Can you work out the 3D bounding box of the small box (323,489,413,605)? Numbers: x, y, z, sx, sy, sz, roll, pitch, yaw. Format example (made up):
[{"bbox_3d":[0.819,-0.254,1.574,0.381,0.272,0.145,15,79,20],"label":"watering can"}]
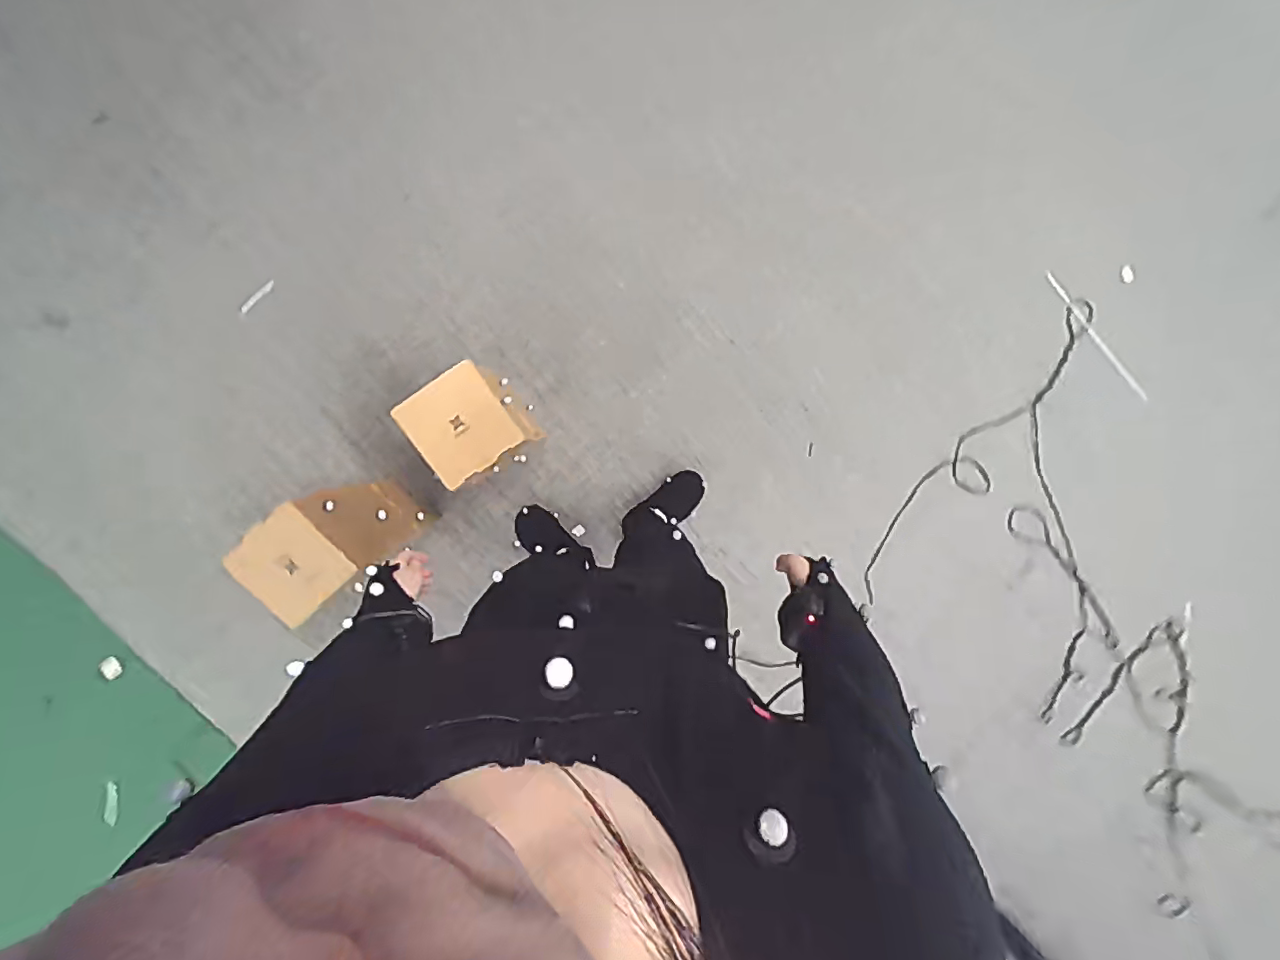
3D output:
[{"bbox_3d":[-0.637,0.137,1.190,0.179,0.176,0.168,44,90,-7],"label":"small box"}]

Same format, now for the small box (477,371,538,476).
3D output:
[{"bbox_3d":[-0.345,-0.115,1.194,0.168,0.176,0.179,-39,97,0],"label":"small box"}]

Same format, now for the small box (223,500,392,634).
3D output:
[{"bbox_3d":[-0.618,0.152,1.029,0.168,0.176,0.179,-45,97,2],"label":"small box"}]

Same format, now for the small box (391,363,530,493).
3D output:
[{"bbox_3d":[-0.330,-0.096,1.033,0.168,0.176,0.179,-37,97,-1],"label":"small box"}]

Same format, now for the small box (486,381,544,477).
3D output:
[{"bbox_3d":[-0.359,-0.126,1.358,0.168,0.176,0.179,-37,98,-1],"label":"small box"}]
